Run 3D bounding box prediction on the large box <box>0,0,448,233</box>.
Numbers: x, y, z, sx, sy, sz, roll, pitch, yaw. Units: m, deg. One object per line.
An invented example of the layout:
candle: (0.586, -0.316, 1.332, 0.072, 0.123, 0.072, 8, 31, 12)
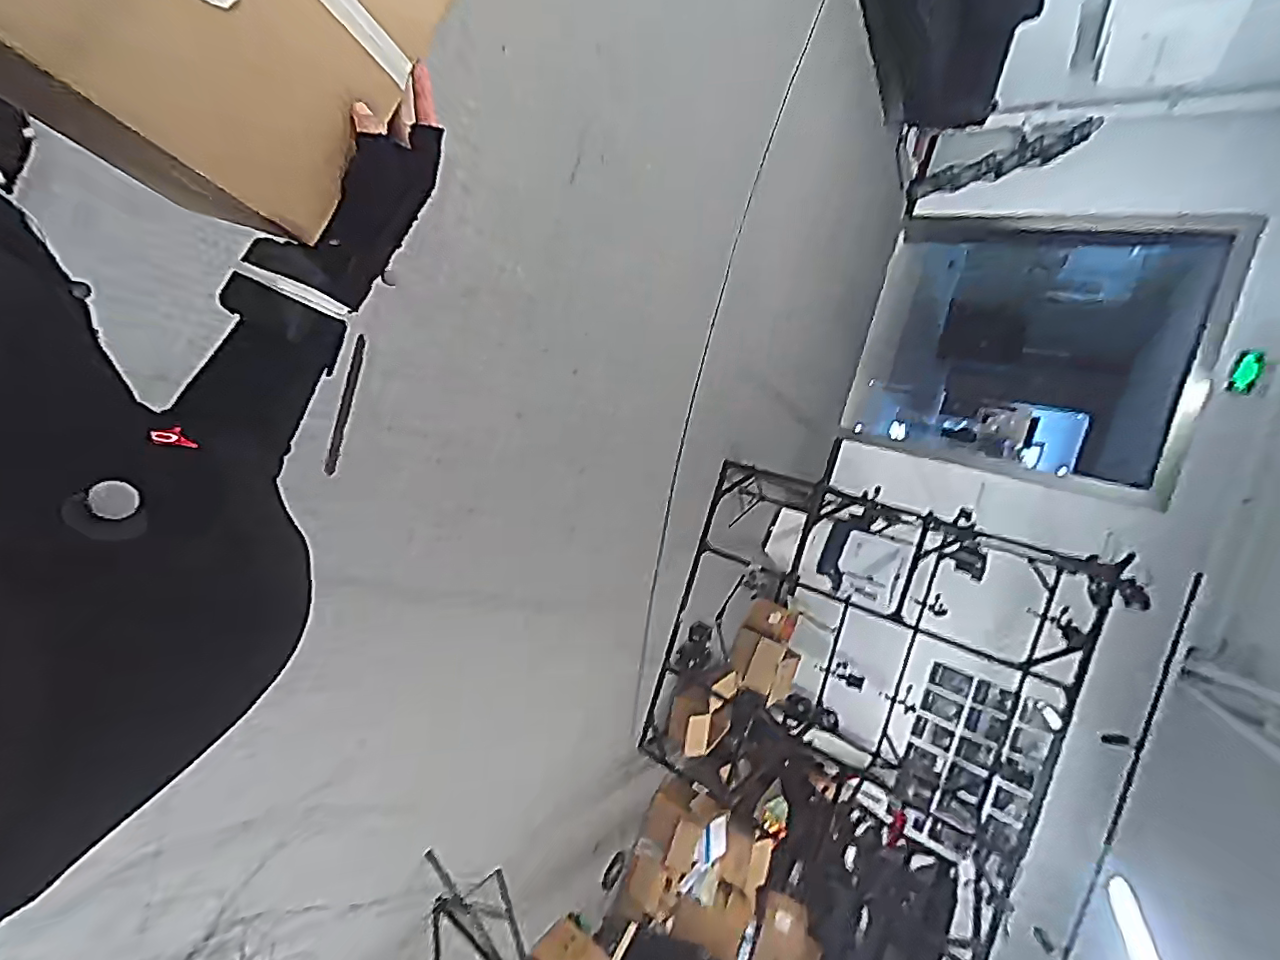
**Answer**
large box: (-0.401, -0.439, 0.357, 0.320, 0.320, 0.408, -62, 148, -3)
